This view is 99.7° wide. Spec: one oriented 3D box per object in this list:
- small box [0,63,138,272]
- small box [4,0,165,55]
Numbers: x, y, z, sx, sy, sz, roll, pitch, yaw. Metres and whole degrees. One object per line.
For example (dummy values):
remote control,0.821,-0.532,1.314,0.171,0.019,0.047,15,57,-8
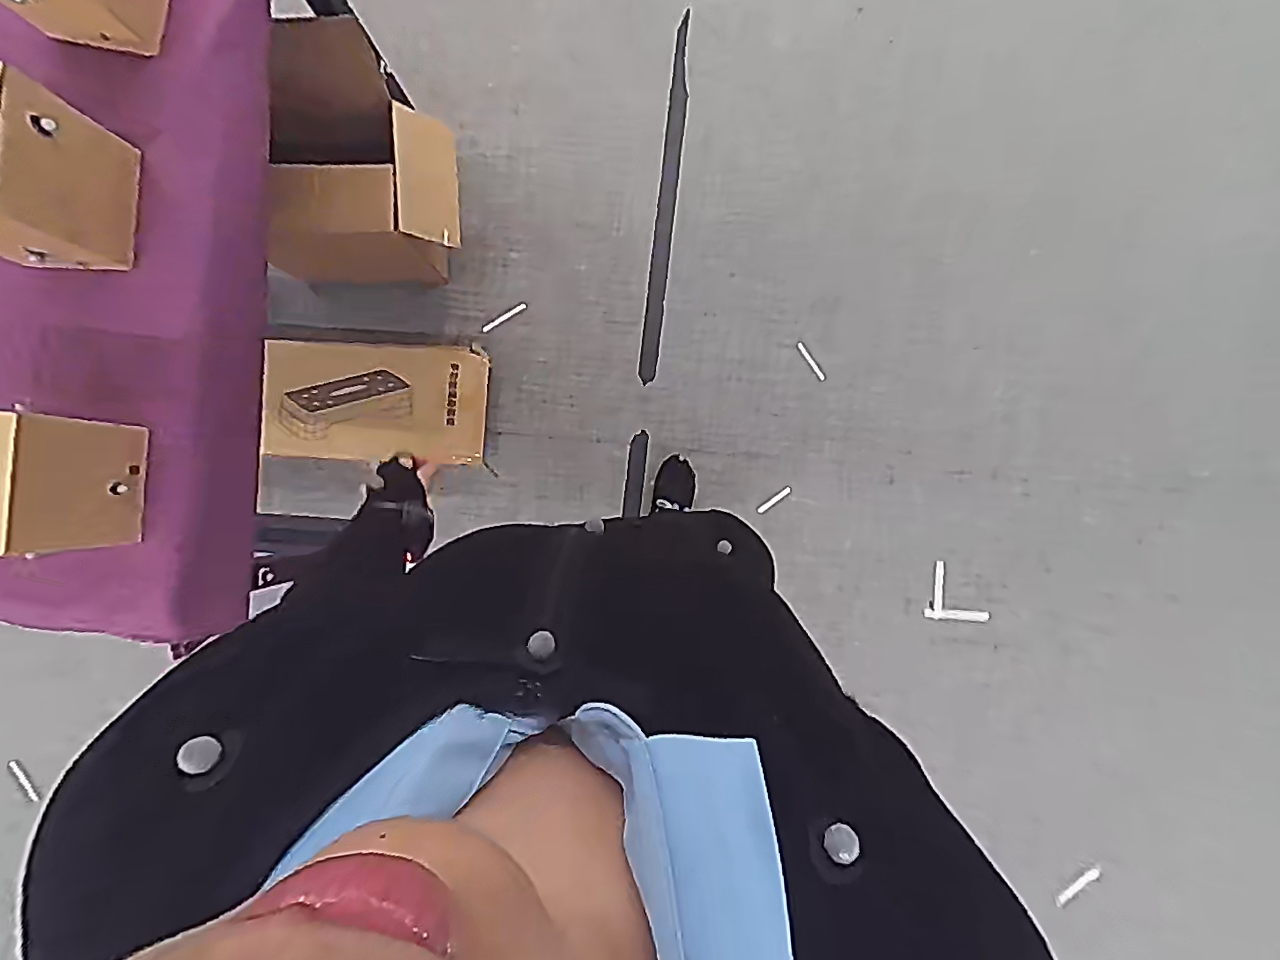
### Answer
small box,-0.803,-0.391,0.695,0.168,0.176,0.179,3,89,3
small box,-0.760,-0.706,0.702,0.168,0.176,0.179,10,89,1
